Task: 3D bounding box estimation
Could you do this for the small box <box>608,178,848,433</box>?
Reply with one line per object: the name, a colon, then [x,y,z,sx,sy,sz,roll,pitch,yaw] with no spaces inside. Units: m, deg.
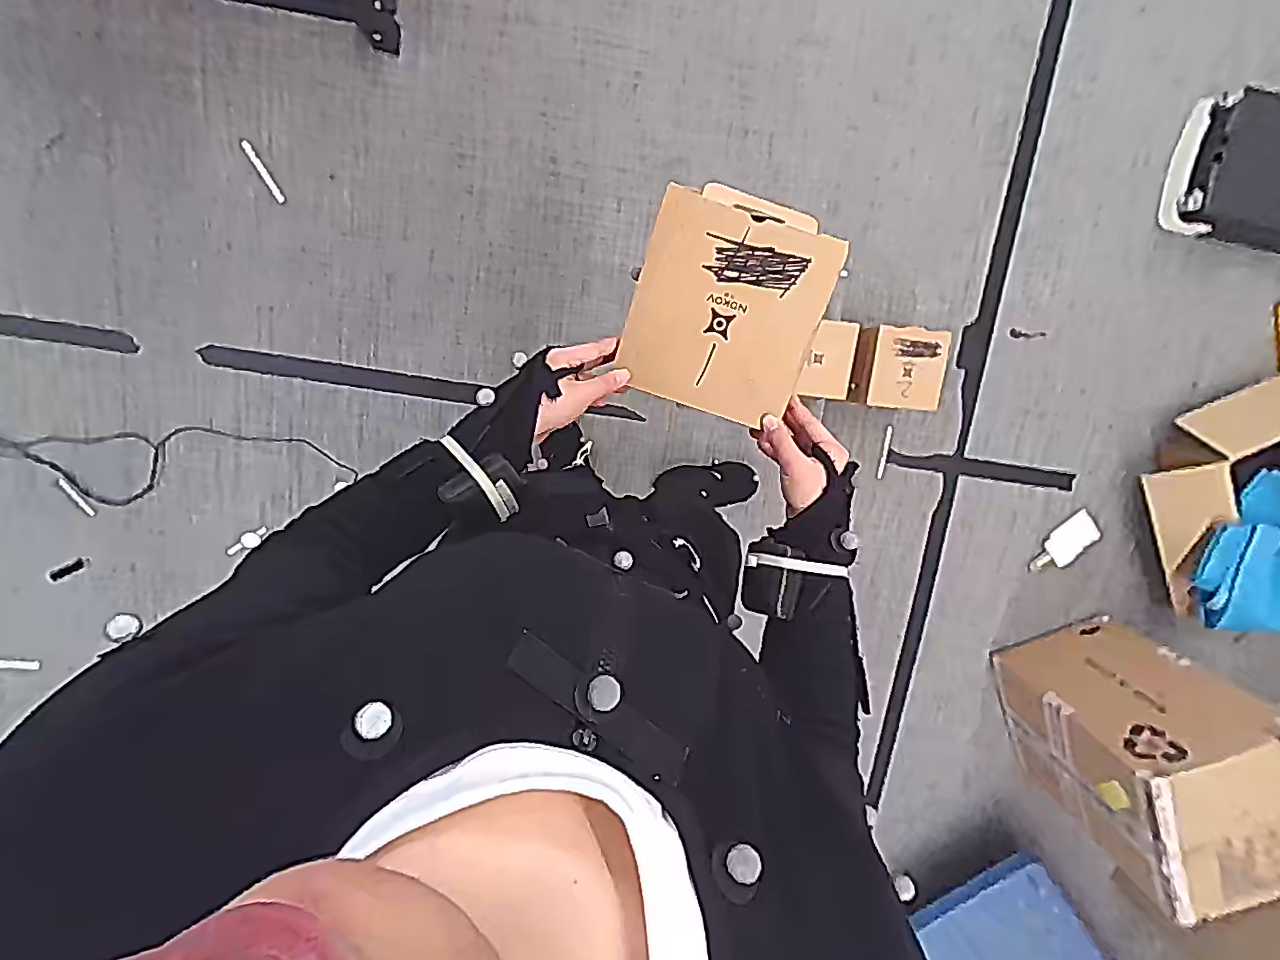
small box: [0.077,-0.166,0.546,0.168,0.176,0.179,18,105,0]
